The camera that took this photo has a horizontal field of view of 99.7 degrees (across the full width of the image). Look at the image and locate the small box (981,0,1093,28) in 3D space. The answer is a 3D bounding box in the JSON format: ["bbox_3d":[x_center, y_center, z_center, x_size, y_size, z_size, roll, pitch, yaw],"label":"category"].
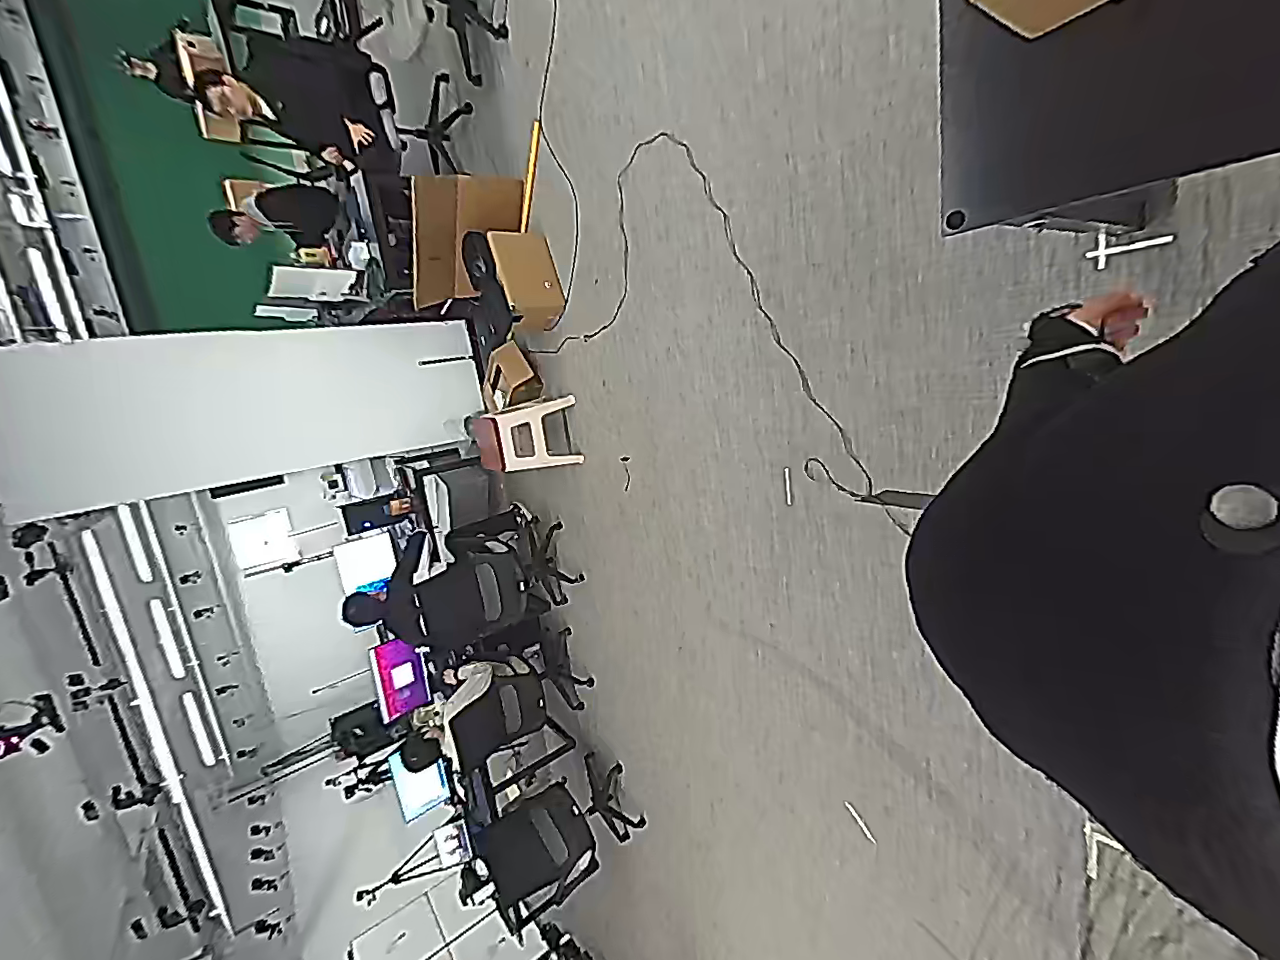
[{"bbox_3d":[0.409,-0.551,0.471,0.179,0.176,0.168,4,106,52],"label":"small box"}]
